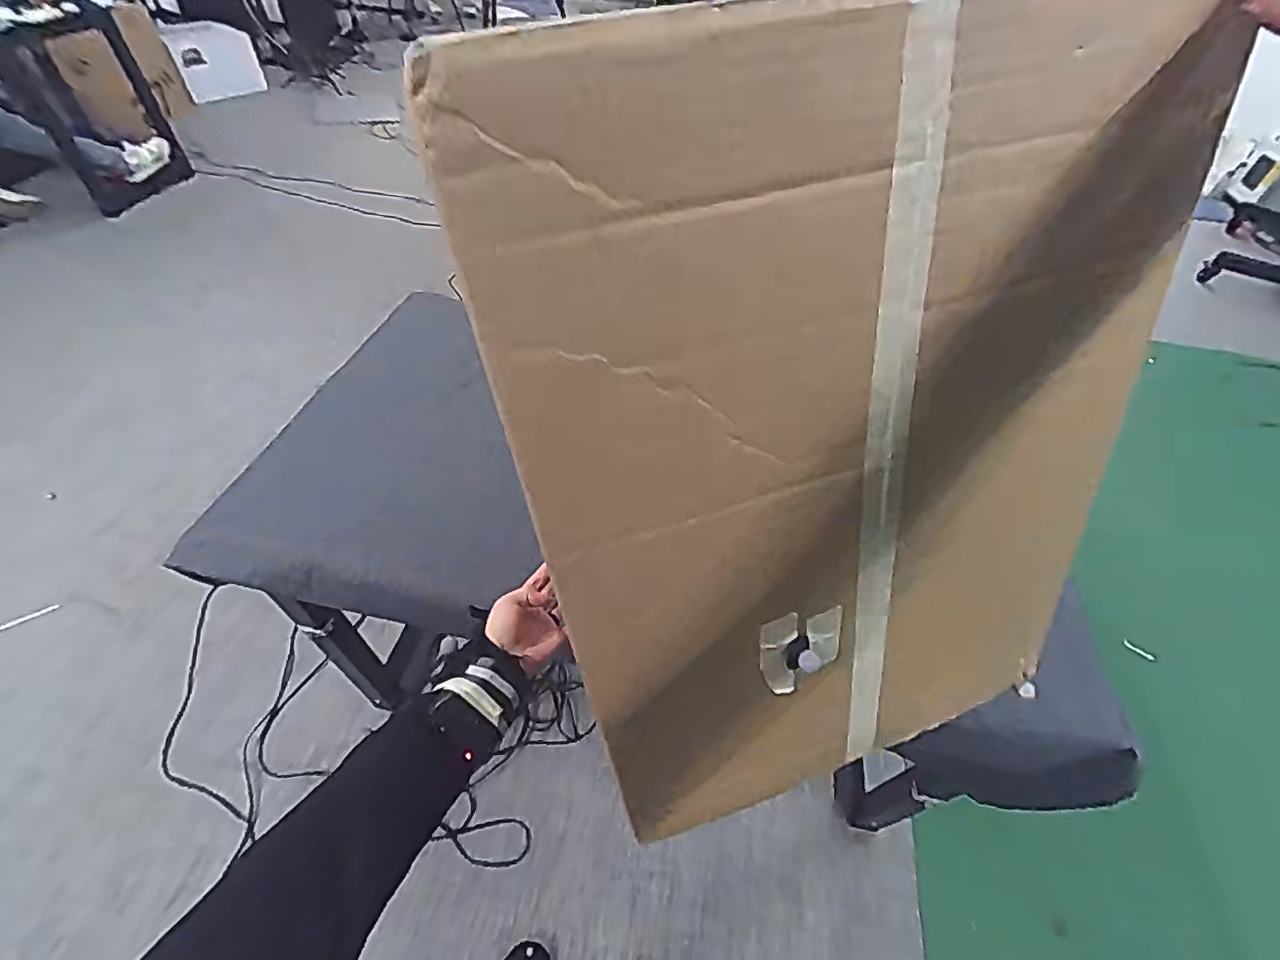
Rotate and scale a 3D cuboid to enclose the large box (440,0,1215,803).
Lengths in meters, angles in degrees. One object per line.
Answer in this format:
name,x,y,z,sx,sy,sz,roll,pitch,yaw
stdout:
large box,0.073,-0.058,0.412,0.320,0.408,0.320,-18,34,-11
